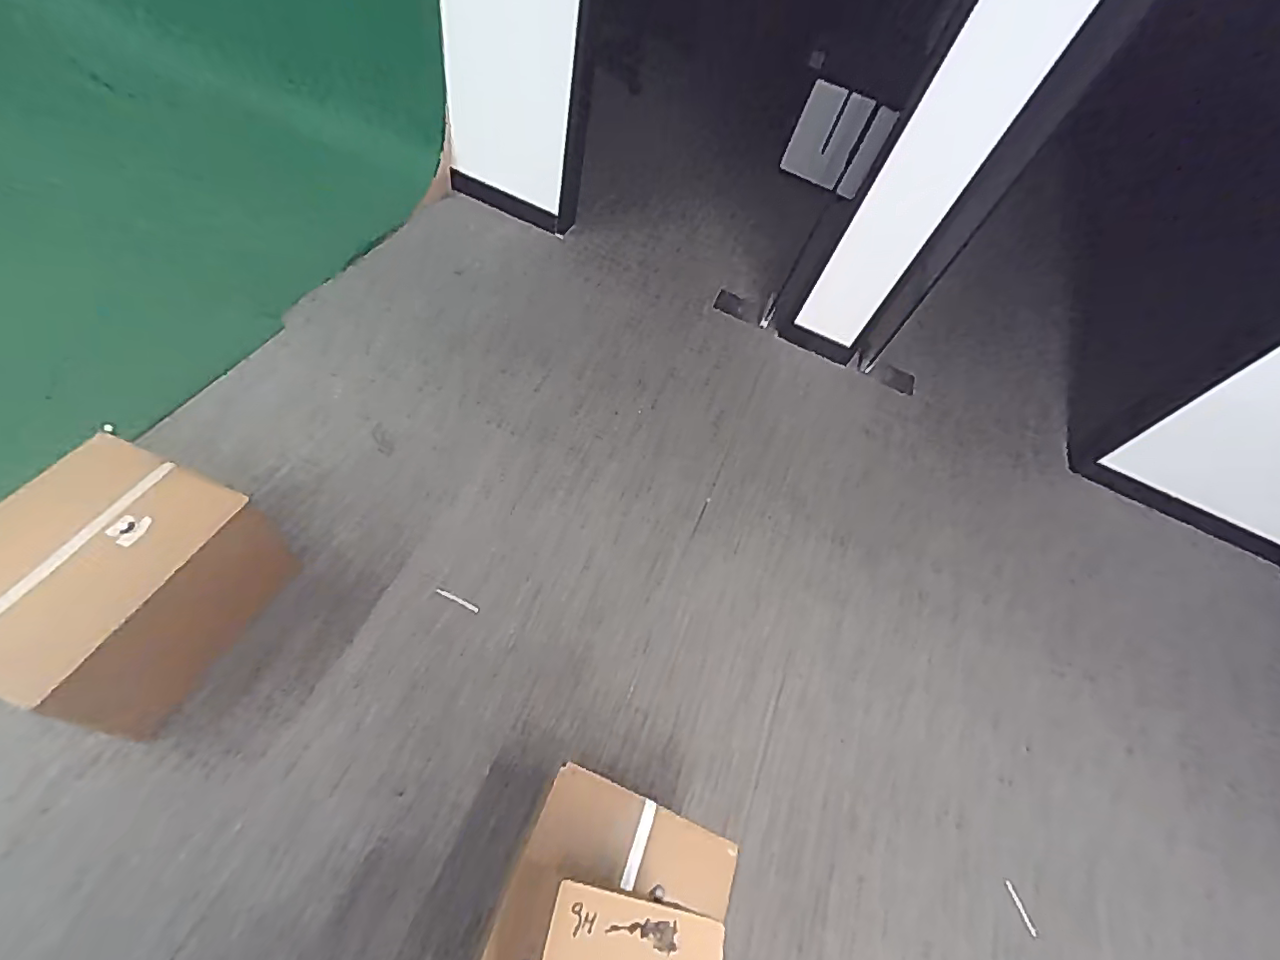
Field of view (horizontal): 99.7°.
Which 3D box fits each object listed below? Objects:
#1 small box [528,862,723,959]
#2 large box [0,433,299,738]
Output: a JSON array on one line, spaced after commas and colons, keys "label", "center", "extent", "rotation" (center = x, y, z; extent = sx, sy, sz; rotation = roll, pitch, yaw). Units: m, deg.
[{"label": "small box", "center": [-0.030, 0.509, 0.541], "extent": [0.168, 0.176, 0.179], "rotation": [16, 56, -1]}, {"label": "large box", "center": [-0.948, 0.197, 1.002], "extent": [0.320, 0.320, 0.408], "rotation": [24, 54, 2]}]
